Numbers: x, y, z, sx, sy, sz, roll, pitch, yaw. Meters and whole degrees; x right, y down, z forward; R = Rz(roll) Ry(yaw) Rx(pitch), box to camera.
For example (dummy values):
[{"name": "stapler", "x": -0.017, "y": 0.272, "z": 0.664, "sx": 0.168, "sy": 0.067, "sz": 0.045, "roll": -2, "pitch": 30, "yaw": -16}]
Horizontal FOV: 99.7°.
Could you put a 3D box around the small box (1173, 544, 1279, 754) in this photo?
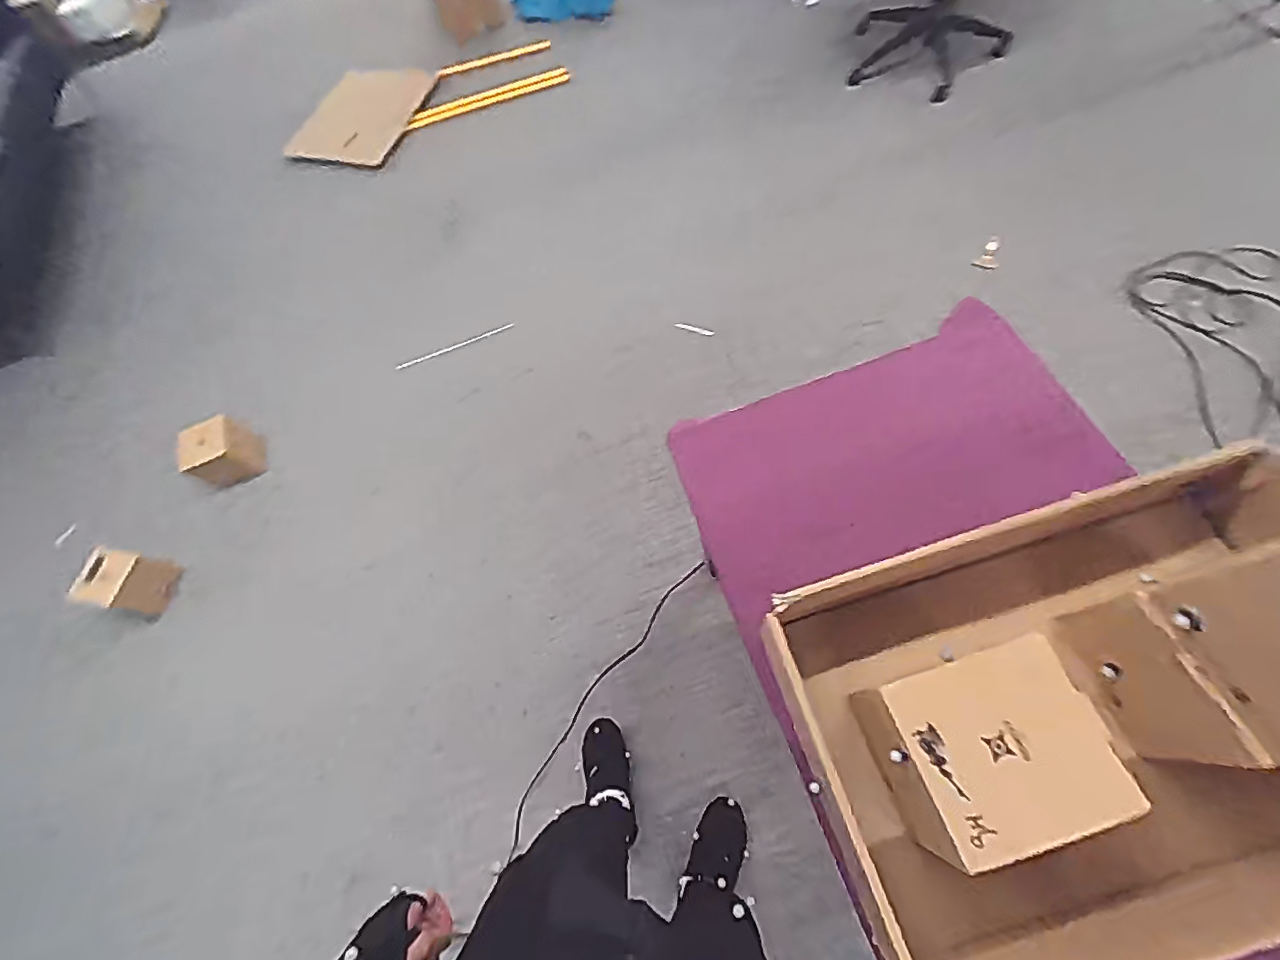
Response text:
[{"name": "small box", "x": 0.599, "y": 0.121, "z": 0.432, "sx": 0.179, "sy": 0.176, "sz": 0.168, "roll": -21, "pitch": 65, "yaw": 0}]

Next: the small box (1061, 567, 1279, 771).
[{"name": "small box", "x": 0.619, "y": 0.189, "z": 0.580, "sx": 0.179, "sy": 0.176, "sz": 0.168, "roll": -21, "pitch": 65, "yaw": 2}]

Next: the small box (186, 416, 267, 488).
[{"name": "small box", "x": -1.465, "y": -0.090, "z": 1.924, "sx": 0.168, "sy": 0.176, "sz": 0.179, "roll": -22, "pitch": 63, "yaw": -2}]
